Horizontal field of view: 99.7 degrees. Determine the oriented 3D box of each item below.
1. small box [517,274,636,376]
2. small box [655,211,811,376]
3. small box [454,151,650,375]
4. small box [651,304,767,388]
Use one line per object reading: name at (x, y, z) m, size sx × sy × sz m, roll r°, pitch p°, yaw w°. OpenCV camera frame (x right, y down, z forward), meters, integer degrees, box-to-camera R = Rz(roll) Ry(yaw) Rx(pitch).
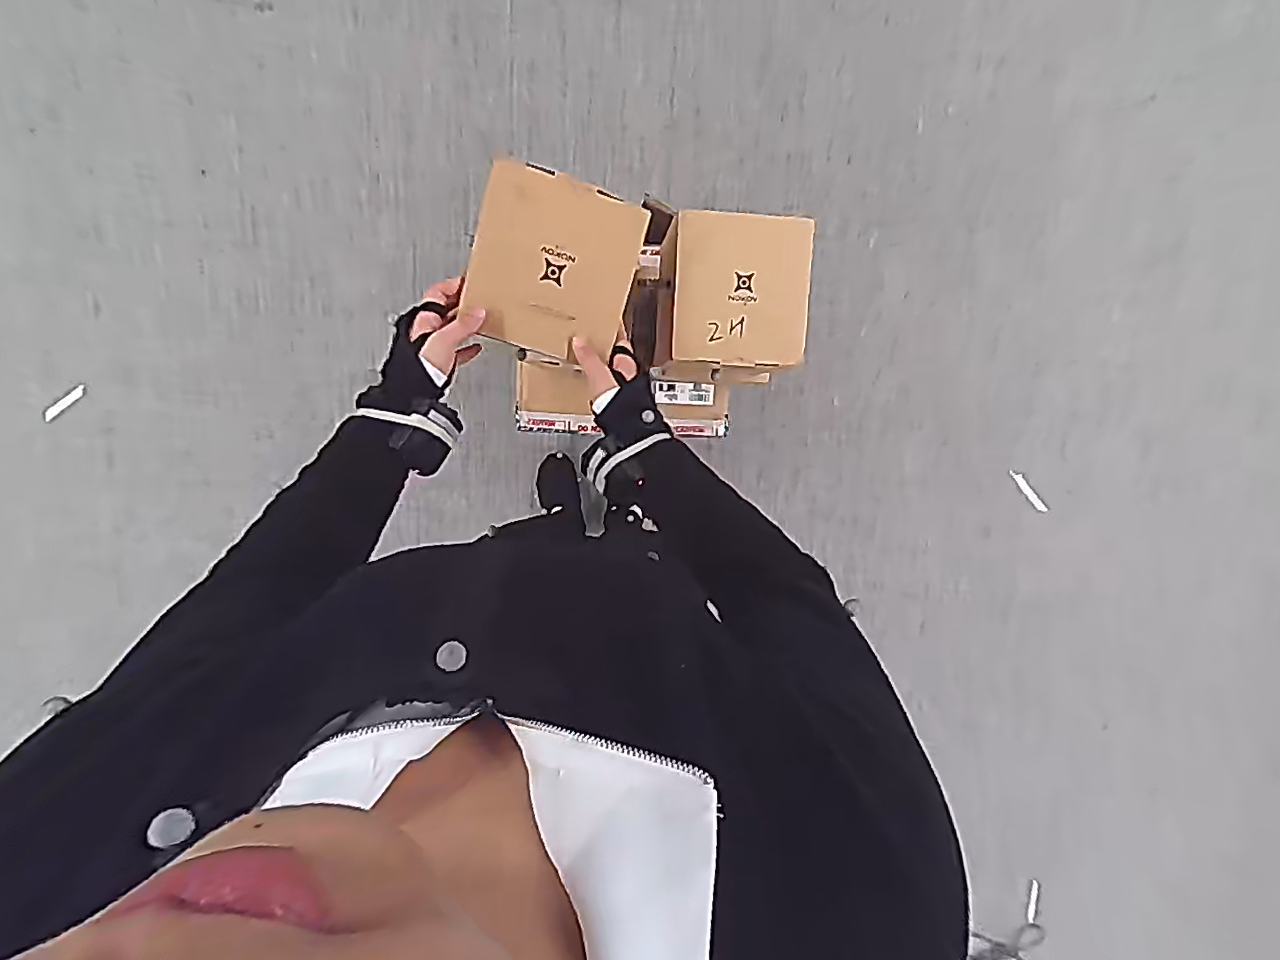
small box at (-0.096, -0.264, 0.875) m, size 0.168 × 0.176 × 0.179 m, roll 5°, pitch 99°, yaw -2°
small box at (0.112, -0.236, 0.726) m, size 0.168 × 0.176 × 0.179 m, roll 2°, pitch 98°, yaw -5°
small box at (-0.105, -0.235, 0.628) m, size 0.168 × 0.176 × 0.179 m, roll 15°, pitch 102°, yaw -15°
small box at (0.113, -0.247, 0.891) m, size 0.168 × 0.176 × 0.179 m, roll 4°, pitch 99°, yaw -6°
